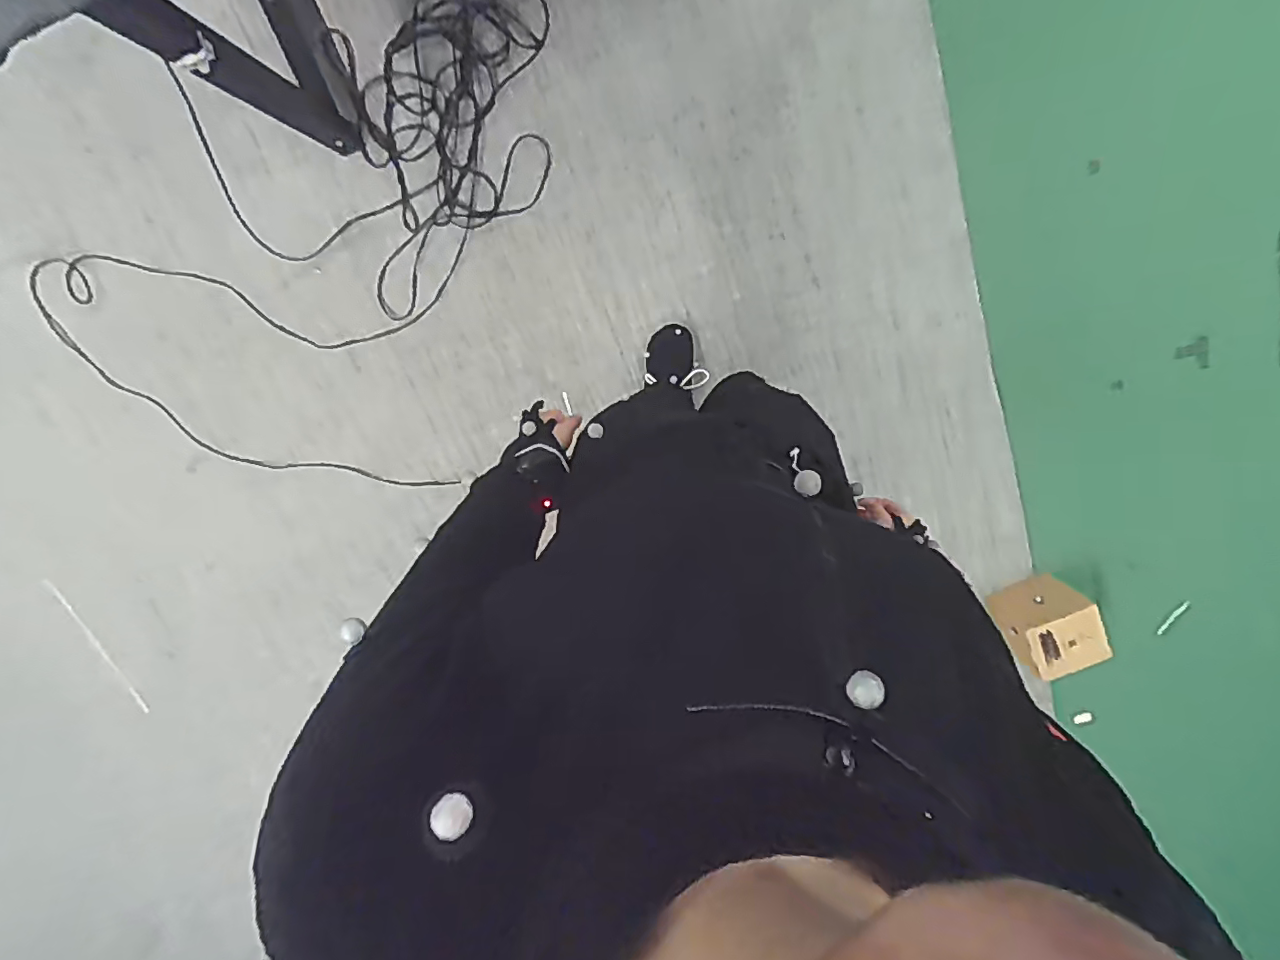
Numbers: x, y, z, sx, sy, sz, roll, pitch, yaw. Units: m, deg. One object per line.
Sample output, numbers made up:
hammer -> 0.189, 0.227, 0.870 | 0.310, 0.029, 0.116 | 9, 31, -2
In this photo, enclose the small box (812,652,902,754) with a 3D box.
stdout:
small box -> 0.580, 0.596, 1.459 | 0.168, 0.176, 0.179 | -15, 104, 5
